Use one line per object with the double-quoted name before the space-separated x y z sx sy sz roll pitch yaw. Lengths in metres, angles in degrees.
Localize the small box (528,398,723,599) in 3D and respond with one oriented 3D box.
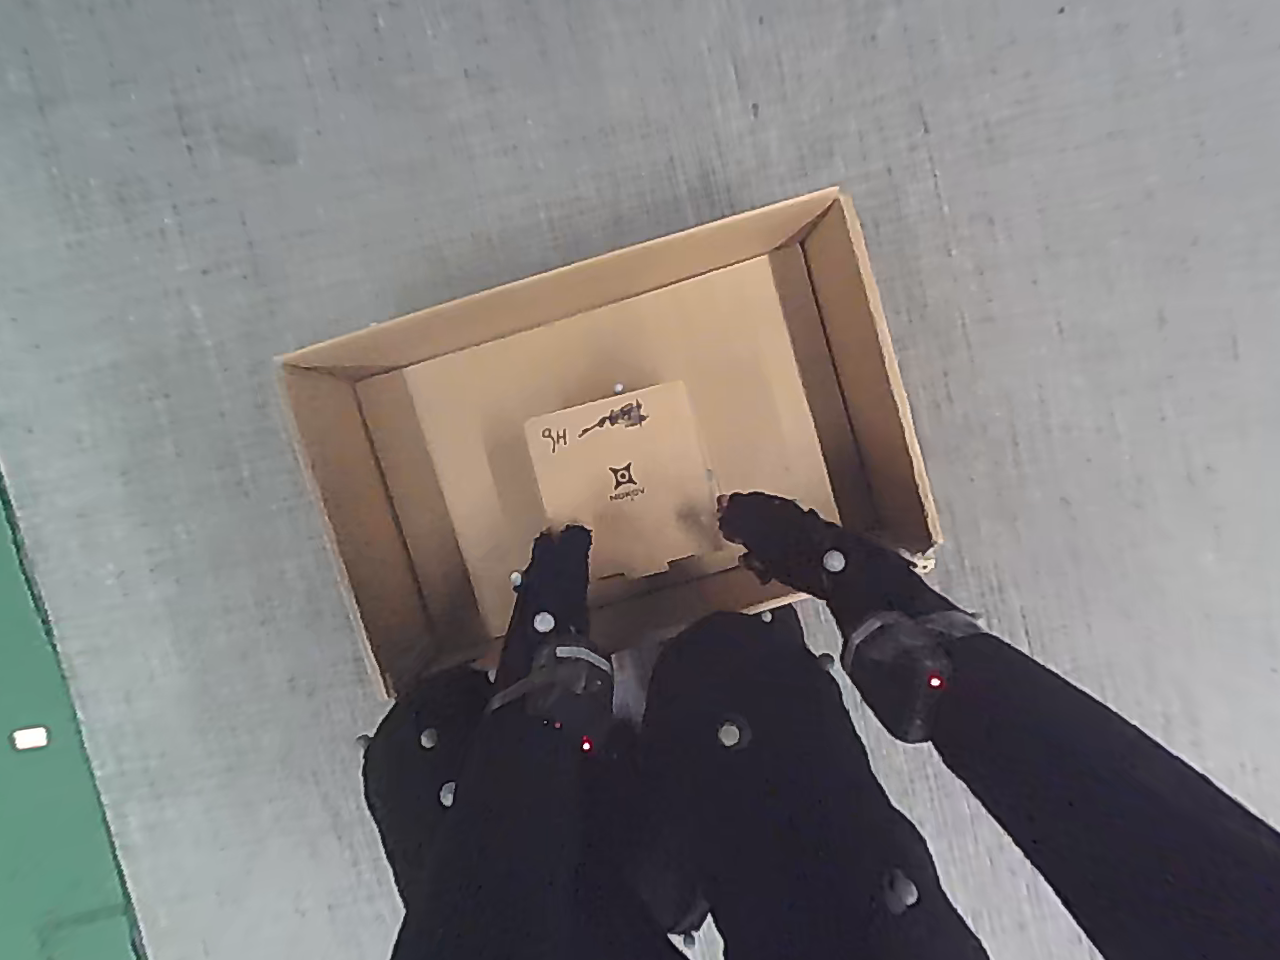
"small box" -0.011 0.012 0.618 0.168 0.176 0.179 -14 94 2
